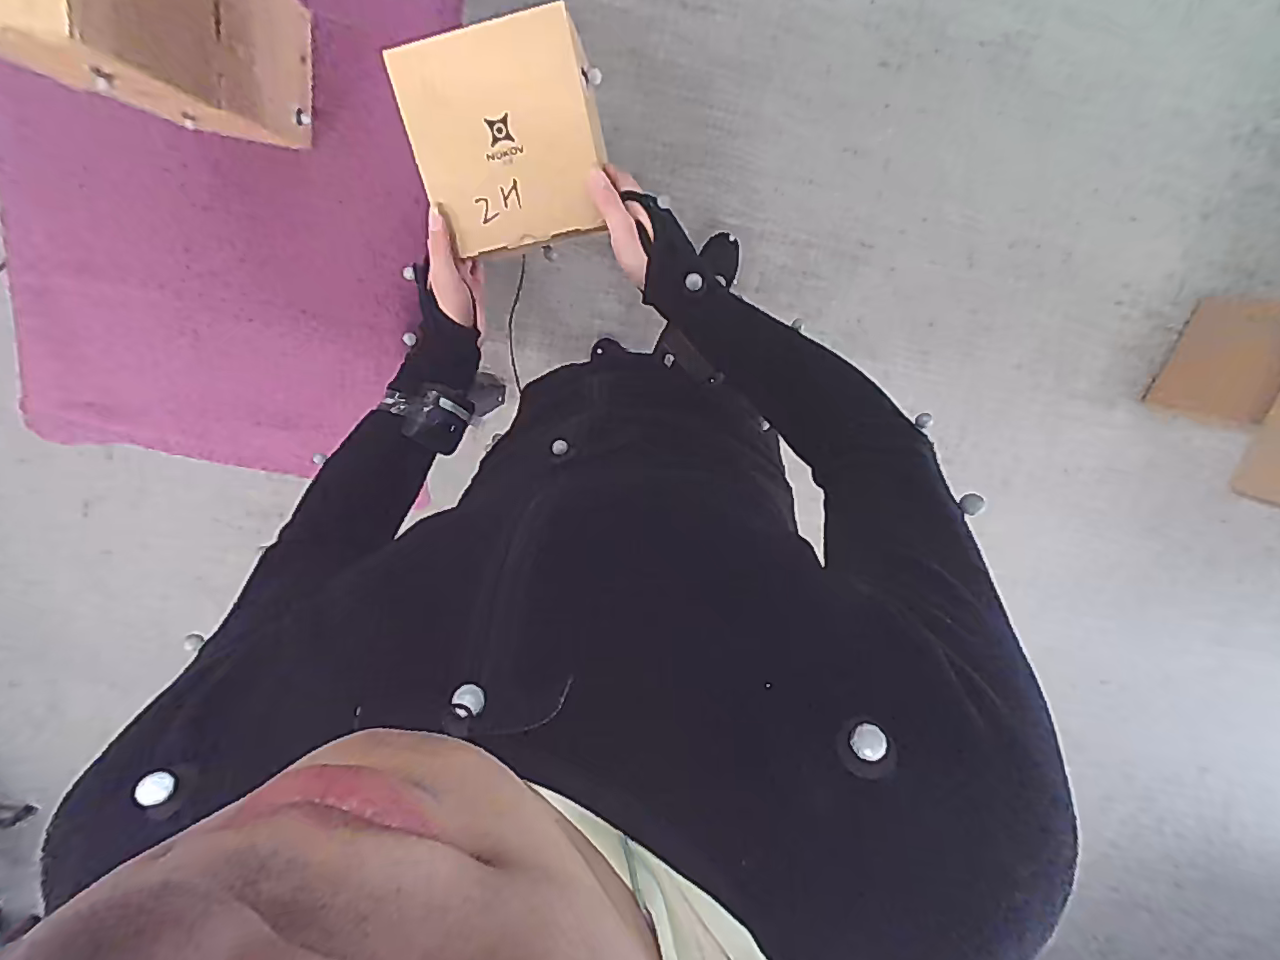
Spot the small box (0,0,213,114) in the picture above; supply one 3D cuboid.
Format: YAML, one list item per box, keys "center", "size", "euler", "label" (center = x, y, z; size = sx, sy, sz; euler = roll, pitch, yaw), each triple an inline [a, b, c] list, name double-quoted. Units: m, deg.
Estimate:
- center: [-0.531, -0.467, 0.491]
  size: [0.168, 0.176, 0.179]
  euler: [9, 106, -3]
  label: "small box"

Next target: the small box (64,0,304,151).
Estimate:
- center: [-0.532, -0.516, 0.647]
  size: [0.179, 0.176, 0.168]
  euler: [10, 107, -2]
  label: "small box"

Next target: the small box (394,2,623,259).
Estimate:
- center: [-0.115, -0.334, 0.558]
  size: [0.168, 0.176, 0.179]
  euler: [-10, 112, 6]
  label: "small box"
